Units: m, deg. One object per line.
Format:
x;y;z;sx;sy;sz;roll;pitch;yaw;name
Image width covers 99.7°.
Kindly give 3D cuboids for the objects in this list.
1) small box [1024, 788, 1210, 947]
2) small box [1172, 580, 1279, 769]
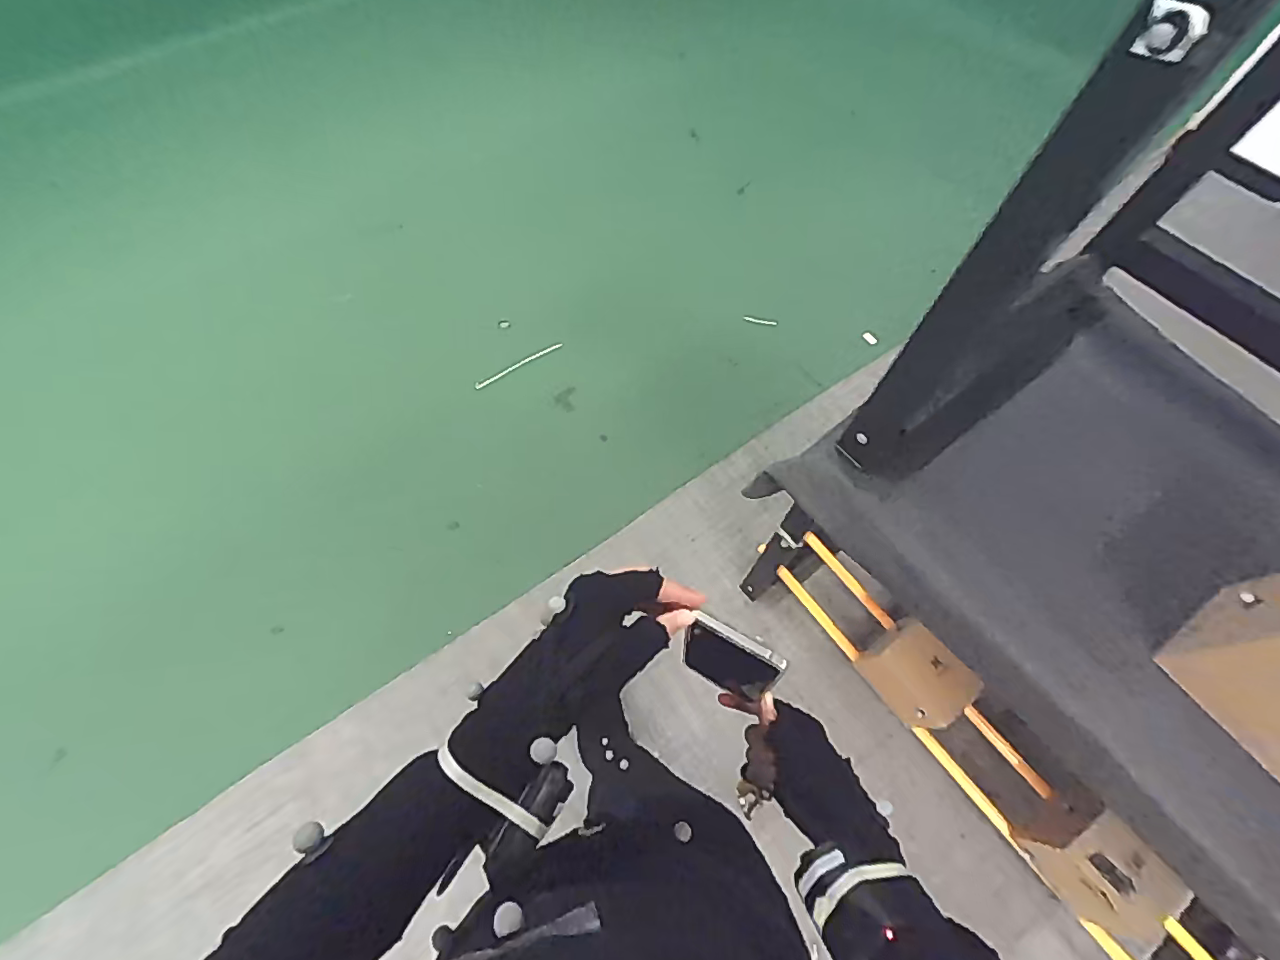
0.876;0.713;1.019;0.179;0.176;0.168;-30;68;-14;small box
0.748;0.205;0.573;0.168;0.176;0.179;-31;68;-14;small box
